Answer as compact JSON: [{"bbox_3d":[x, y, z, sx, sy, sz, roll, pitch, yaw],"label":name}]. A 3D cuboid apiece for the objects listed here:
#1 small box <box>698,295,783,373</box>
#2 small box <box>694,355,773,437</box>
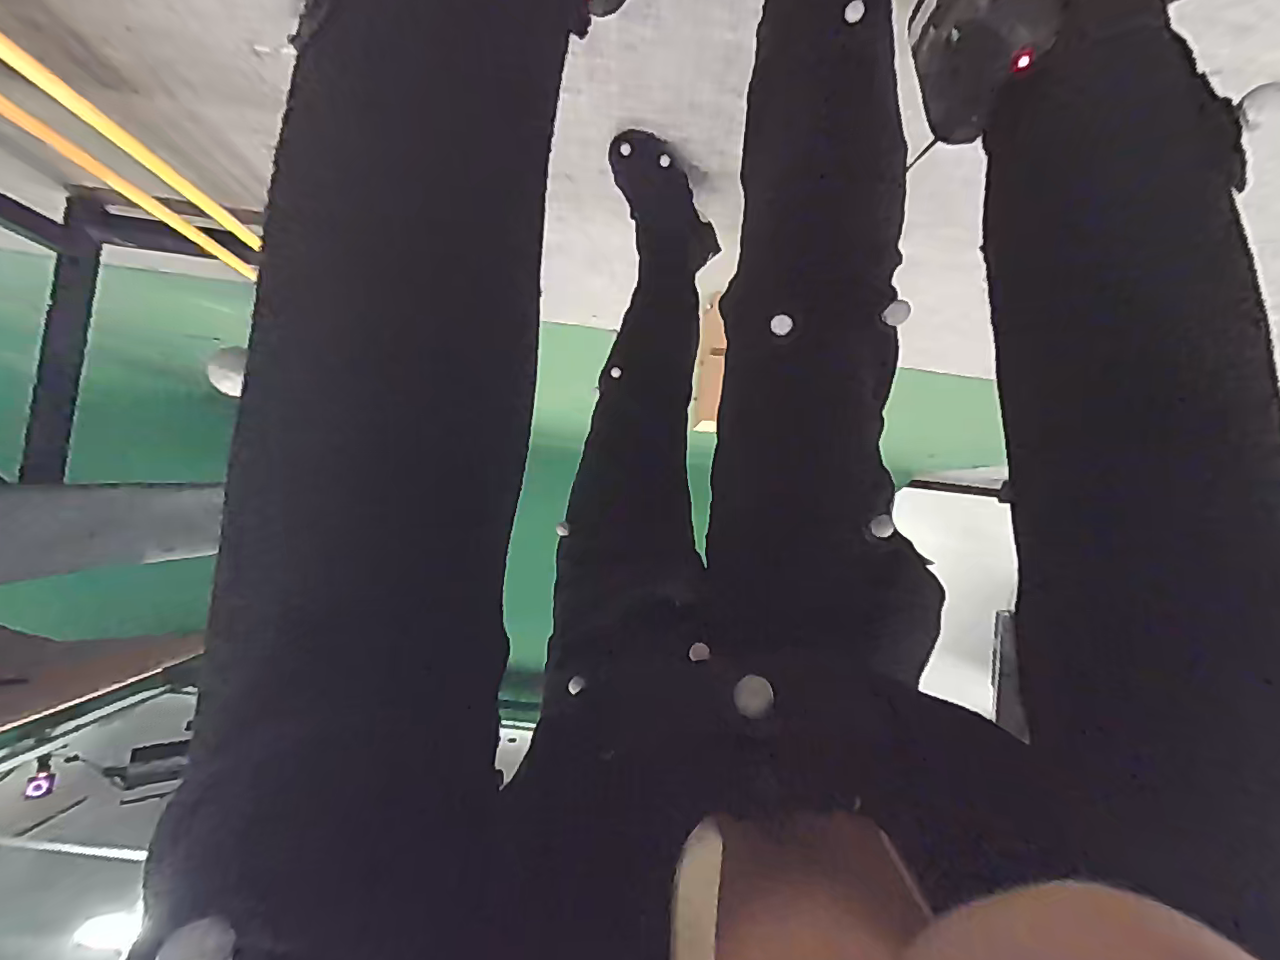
[{"bbox_3d":[0.262,-0.373,1.423,0.179,0.176,0.168,6,177,-5],"label":"small box"},{"bbox_3d":[0.240,-0.213,1.400,0.168,0.176,0.179,5,176,-2],"label":"small box"}]
